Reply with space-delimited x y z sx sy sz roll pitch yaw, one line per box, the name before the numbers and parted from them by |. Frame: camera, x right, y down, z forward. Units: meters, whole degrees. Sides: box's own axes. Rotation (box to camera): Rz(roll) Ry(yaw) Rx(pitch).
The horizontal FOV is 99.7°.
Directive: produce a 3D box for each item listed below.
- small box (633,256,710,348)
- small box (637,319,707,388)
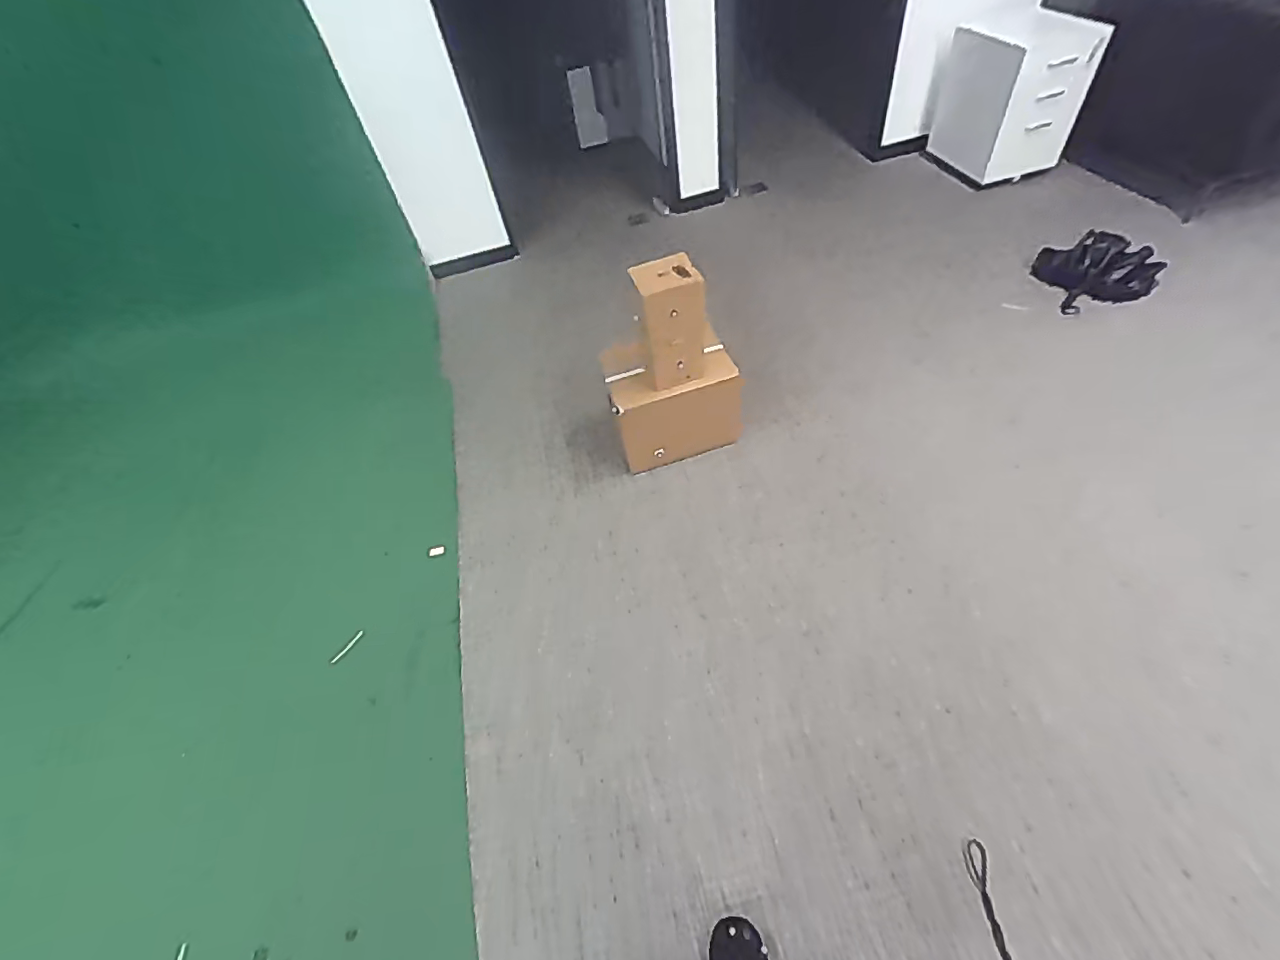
small box | 0.091 -0.508 1.550 0.179 0.176 0.168 -19 51 -7
small box | 0.104 -0.407 1.680 0.168 0.176 0.179 -19 51 -5
